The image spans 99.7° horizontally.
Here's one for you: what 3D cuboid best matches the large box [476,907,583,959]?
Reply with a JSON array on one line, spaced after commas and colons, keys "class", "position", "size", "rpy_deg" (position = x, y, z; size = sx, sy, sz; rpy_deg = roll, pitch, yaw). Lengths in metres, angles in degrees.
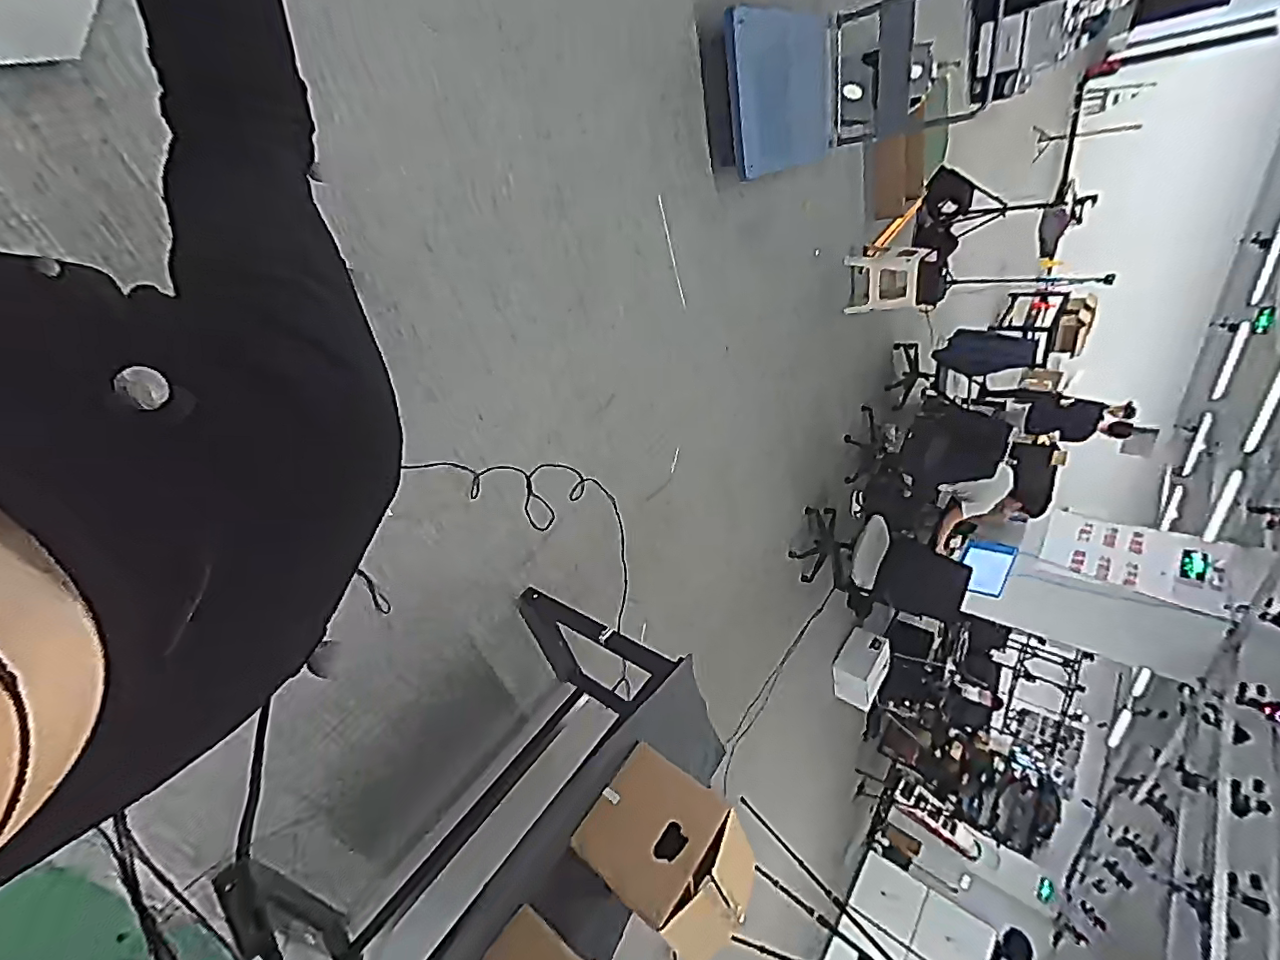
[{"class": "large box", "position": [-0.220, 1.270, 1.221], "size": [0.320, 0.320, 0.408], "rpy_deg": [-45, 134, -32]}]
